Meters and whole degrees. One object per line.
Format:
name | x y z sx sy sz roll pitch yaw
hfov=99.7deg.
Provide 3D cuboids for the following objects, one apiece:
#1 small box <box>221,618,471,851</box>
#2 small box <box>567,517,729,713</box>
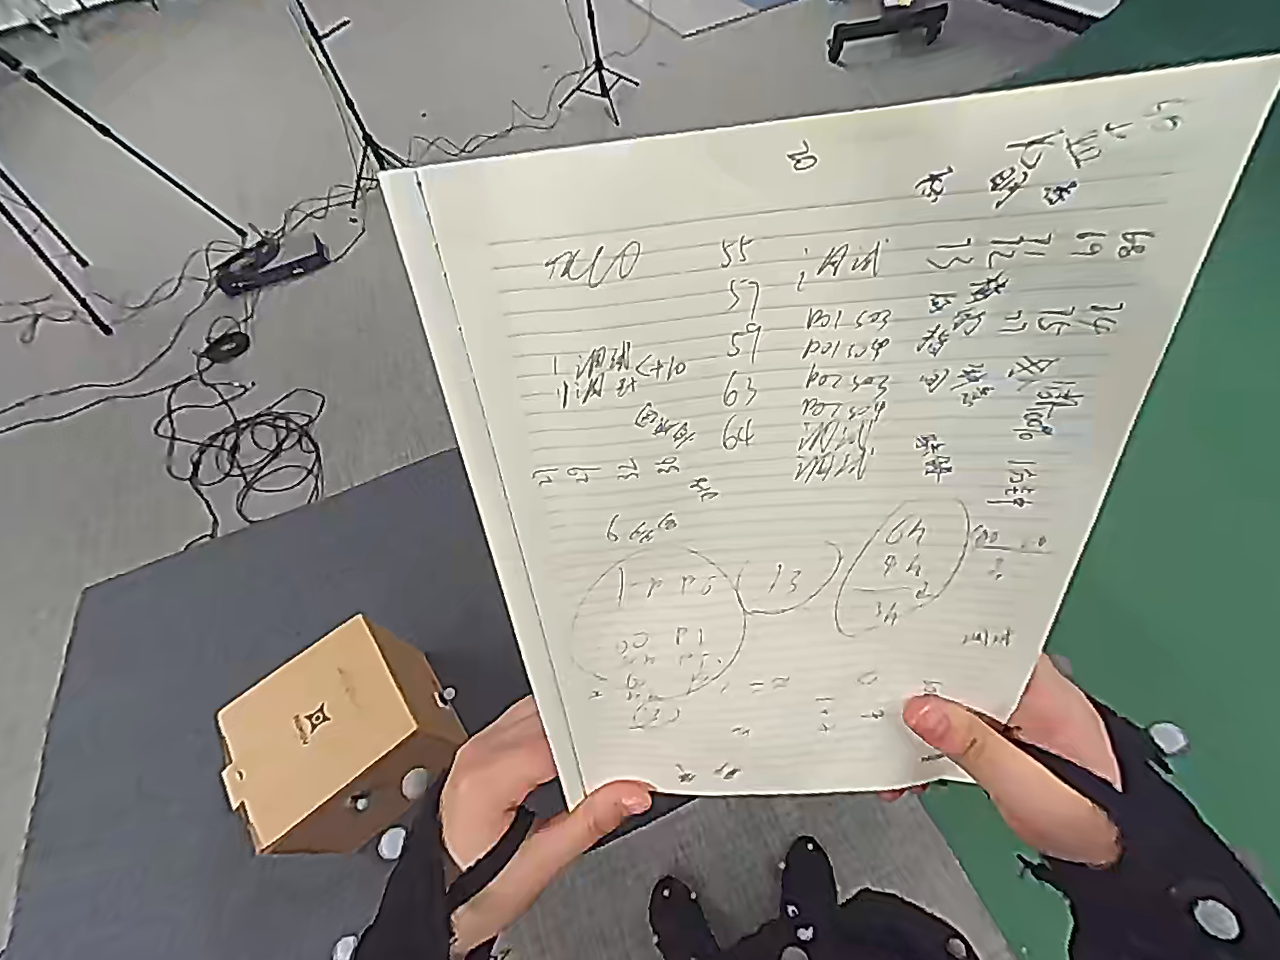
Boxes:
small box | -0.336 0.304 0.644 0.179 0.176 0.168 -37 60 -16
small box | 0.011 0.172 0.672 0.168 0.176 0.179 -11 56 3
